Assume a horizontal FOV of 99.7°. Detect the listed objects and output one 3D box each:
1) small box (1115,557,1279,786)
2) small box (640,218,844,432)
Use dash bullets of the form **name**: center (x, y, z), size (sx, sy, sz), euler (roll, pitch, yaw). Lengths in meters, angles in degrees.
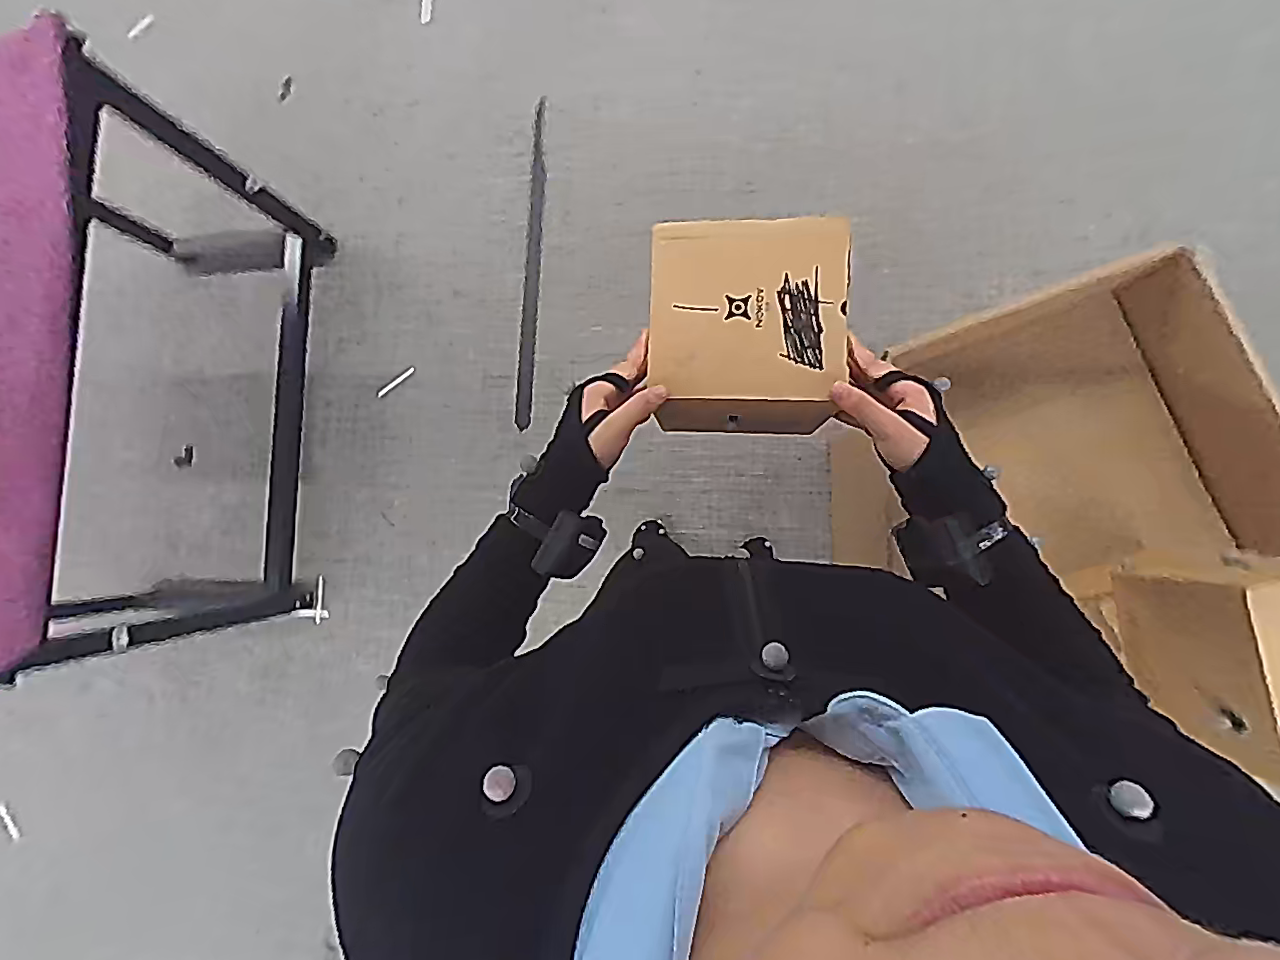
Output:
- **small box**: center (0.621, 0.172, 0.527), size (0.168, 0.176, 0.179), euler (-7, 83, 8)
- **small box**: center (0.099, -0.145, 0.556), size (0.179, 0.176, 0.168), euler (1, 85, 8)
